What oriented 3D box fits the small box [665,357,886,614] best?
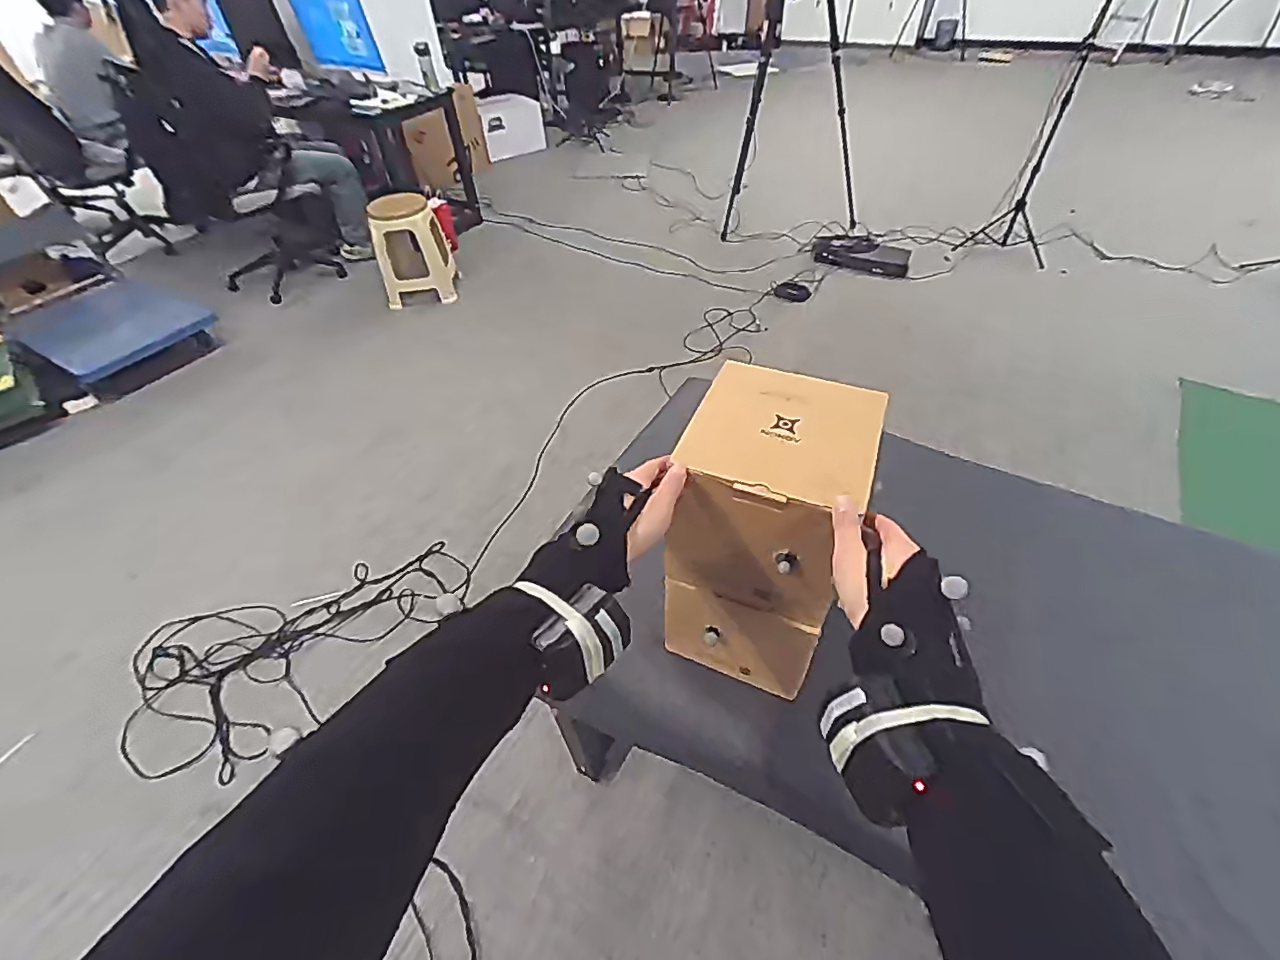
[{"bbox_3d":[0.131,0.006,0.551,0.168,0.176,0.179,17,48,16],"label":"small box"}]

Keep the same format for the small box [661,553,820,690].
[{"bbox_3d":[0.136,0.124,0.662,0.168,0.176,0.179,18,49,18],"label":"small box"}]
